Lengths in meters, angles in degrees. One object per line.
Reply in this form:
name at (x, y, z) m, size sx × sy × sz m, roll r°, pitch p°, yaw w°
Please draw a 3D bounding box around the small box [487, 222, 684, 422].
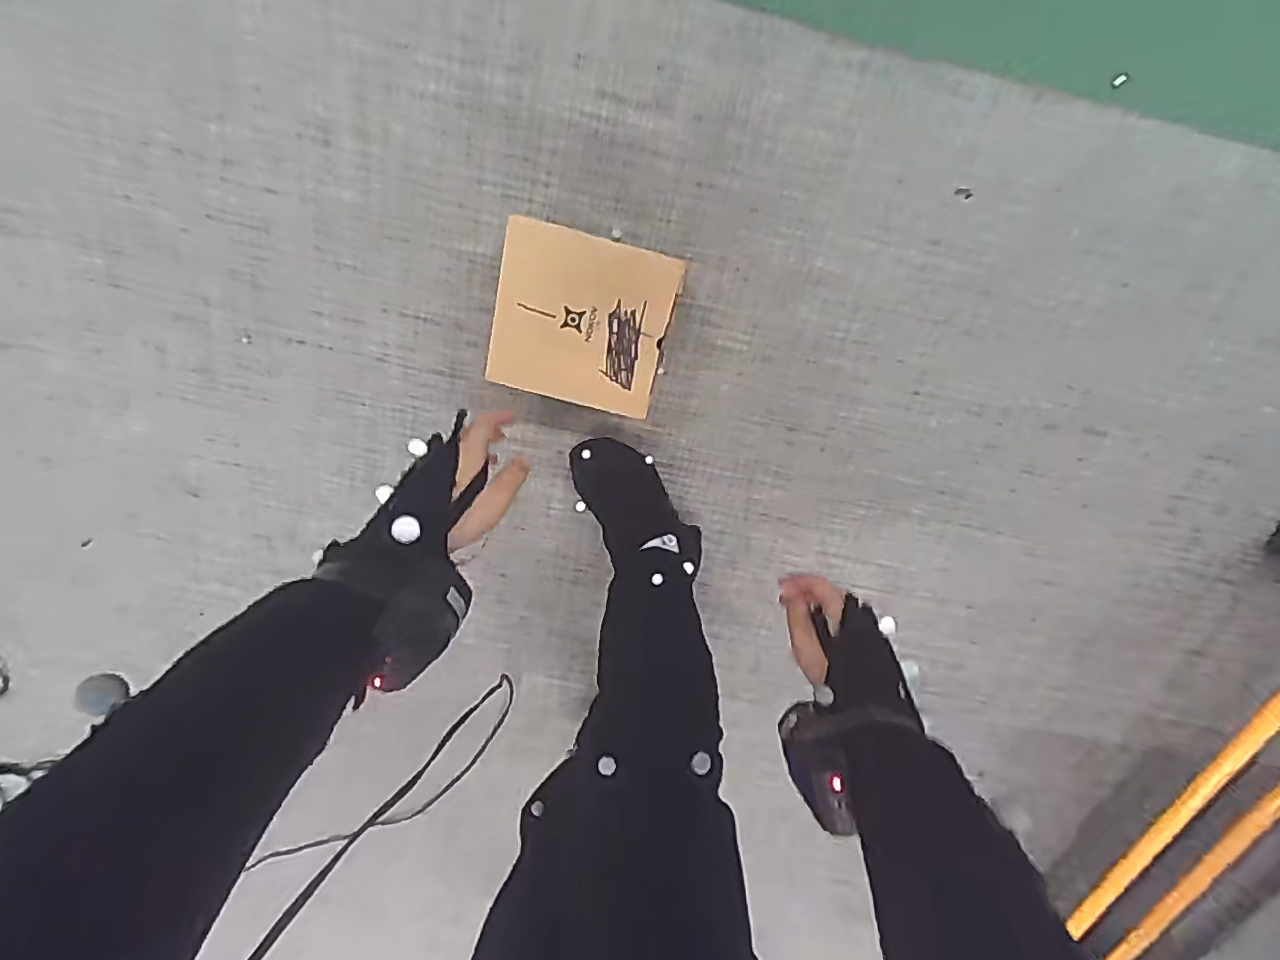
small box at (-0.057, -0.185, 0.625) m, size 0.179 × 0.176 × 0.168 m, roll 14°, pitch 111°, yaw -3°
